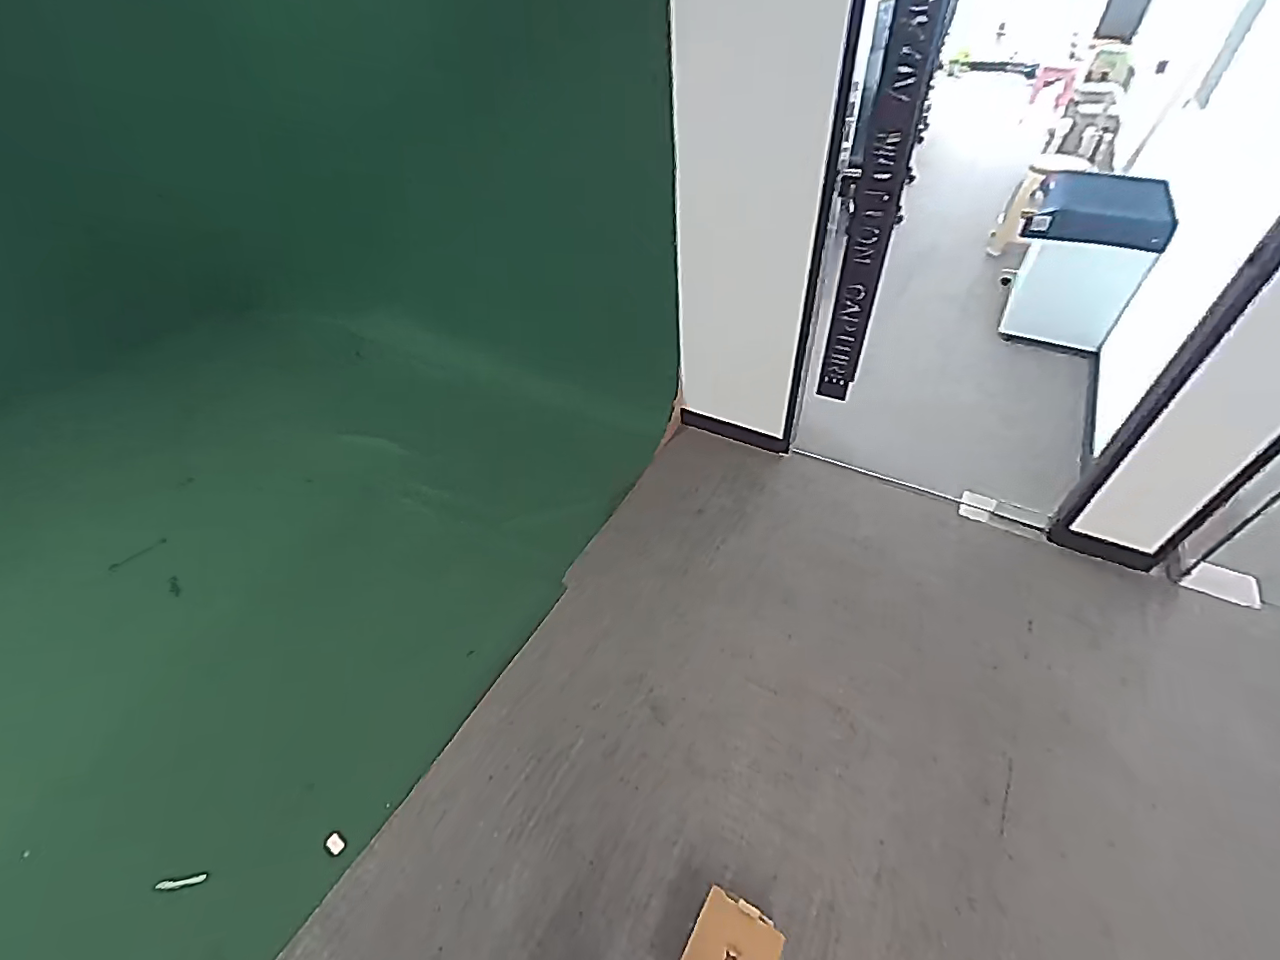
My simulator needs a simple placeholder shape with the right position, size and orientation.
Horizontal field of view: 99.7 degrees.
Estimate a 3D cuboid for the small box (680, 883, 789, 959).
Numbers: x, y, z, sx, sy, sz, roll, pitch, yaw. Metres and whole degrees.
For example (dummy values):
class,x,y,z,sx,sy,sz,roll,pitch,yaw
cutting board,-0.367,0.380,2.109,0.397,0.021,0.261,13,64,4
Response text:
class,x,y,z,sx,sy,sz,roll,pitch,yaw
small box,0.186,0.977,1.103,0.168,0.176,0.179,22,53,27
